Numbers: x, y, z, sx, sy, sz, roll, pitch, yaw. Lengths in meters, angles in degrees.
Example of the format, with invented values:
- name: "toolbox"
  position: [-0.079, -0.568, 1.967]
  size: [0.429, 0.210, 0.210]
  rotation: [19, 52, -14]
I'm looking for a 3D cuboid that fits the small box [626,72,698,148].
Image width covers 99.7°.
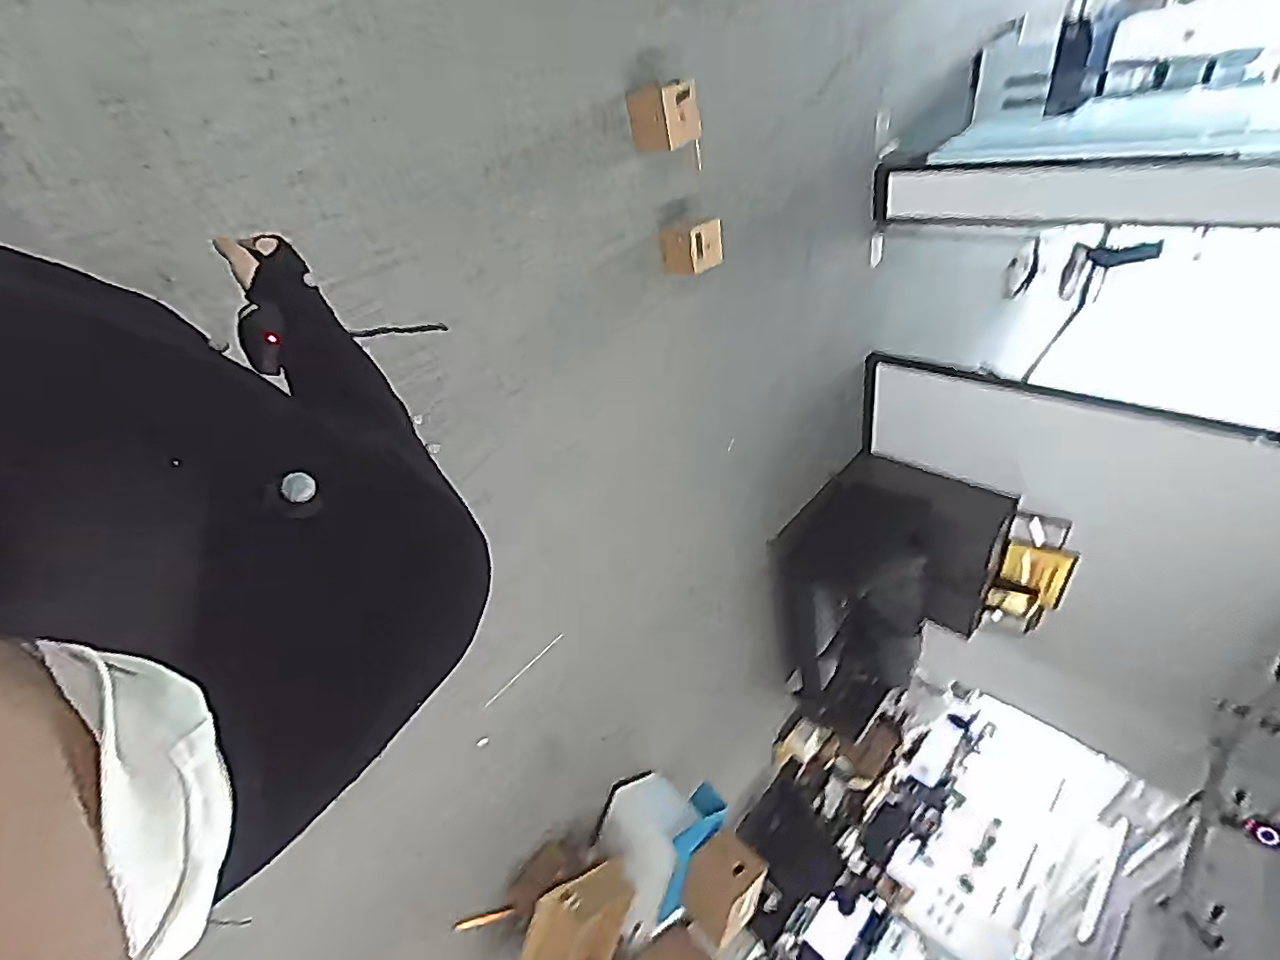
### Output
- name: "small box"
  position: [0.073, -1.259, 1.847]
  size: [0.168, 0.176, 0.179]
  rotation: [-41, 136, -26]
